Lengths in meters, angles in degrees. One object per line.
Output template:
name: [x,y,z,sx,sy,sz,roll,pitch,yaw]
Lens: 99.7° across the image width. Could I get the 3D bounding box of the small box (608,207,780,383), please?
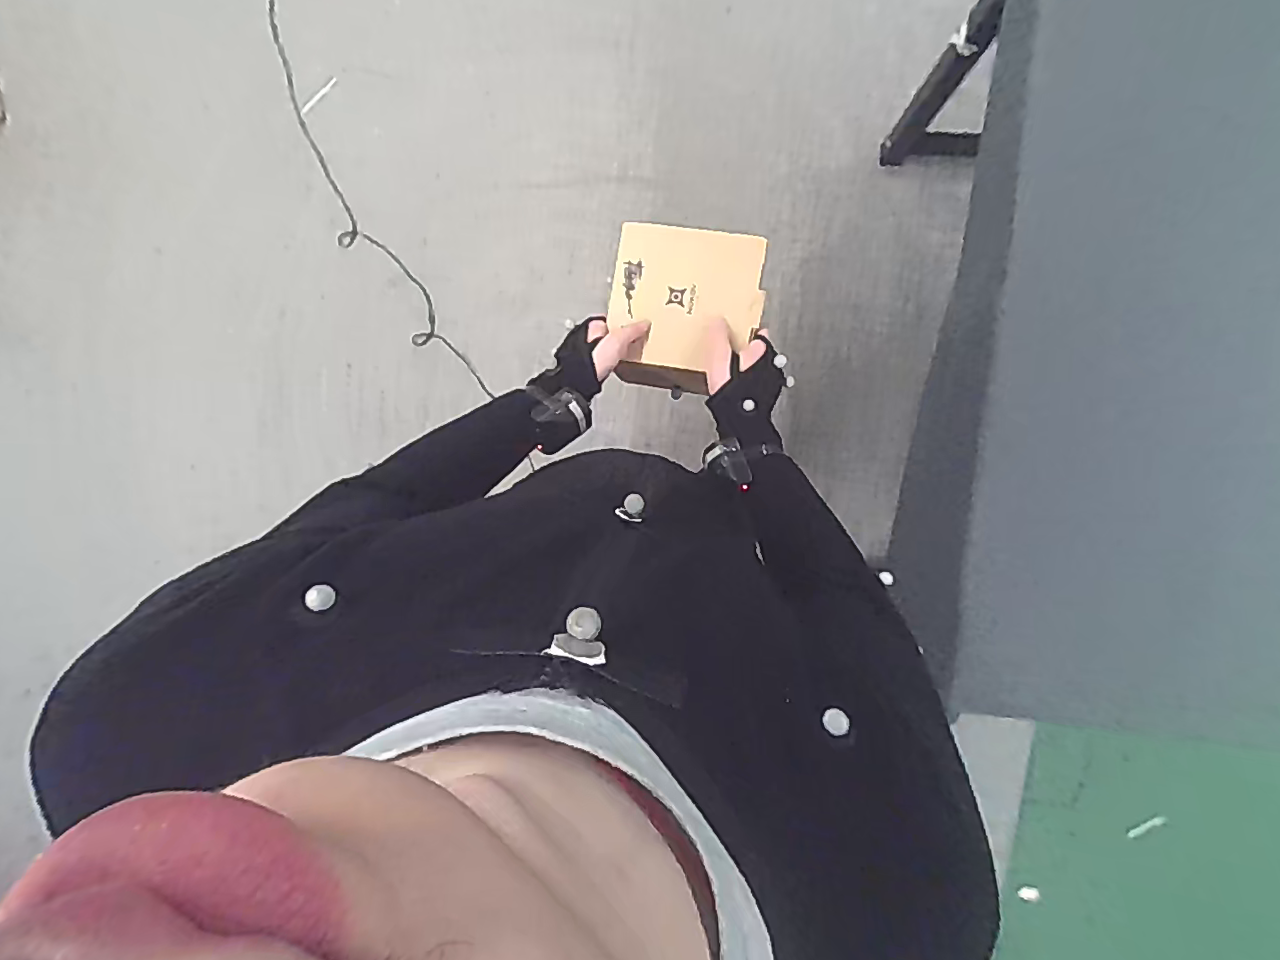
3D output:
small box: [0.068,-0.226,0.703,0.179,0.176,0.168,10,93,5]
